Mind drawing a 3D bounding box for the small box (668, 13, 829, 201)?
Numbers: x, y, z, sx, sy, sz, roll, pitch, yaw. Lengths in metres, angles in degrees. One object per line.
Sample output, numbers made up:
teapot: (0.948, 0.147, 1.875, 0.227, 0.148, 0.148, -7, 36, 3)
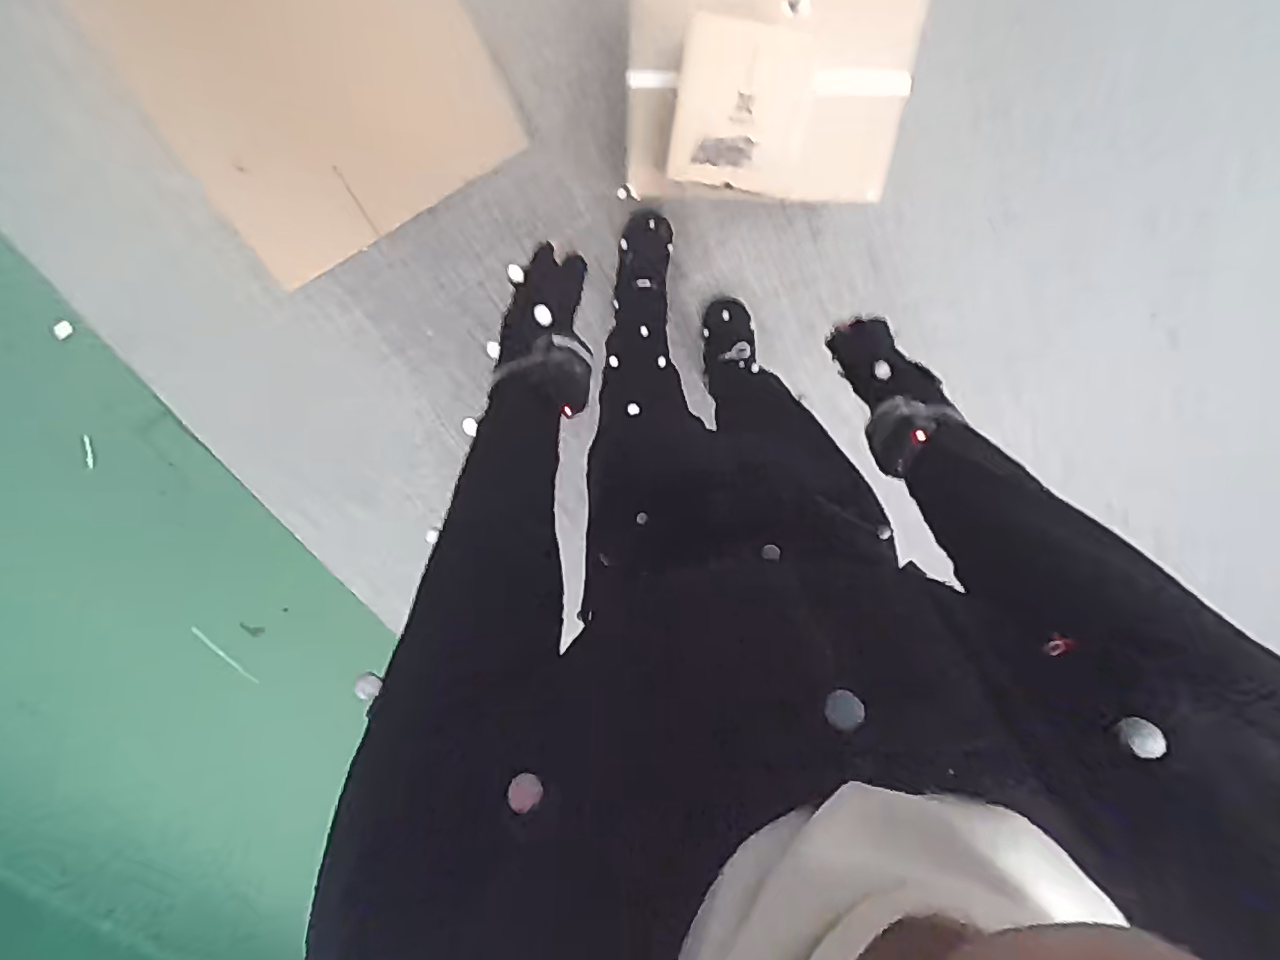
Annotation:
small box: (0.137, -0.499, 0.745, 0.168, 0.176, 0.179, 10, 120, -1)
